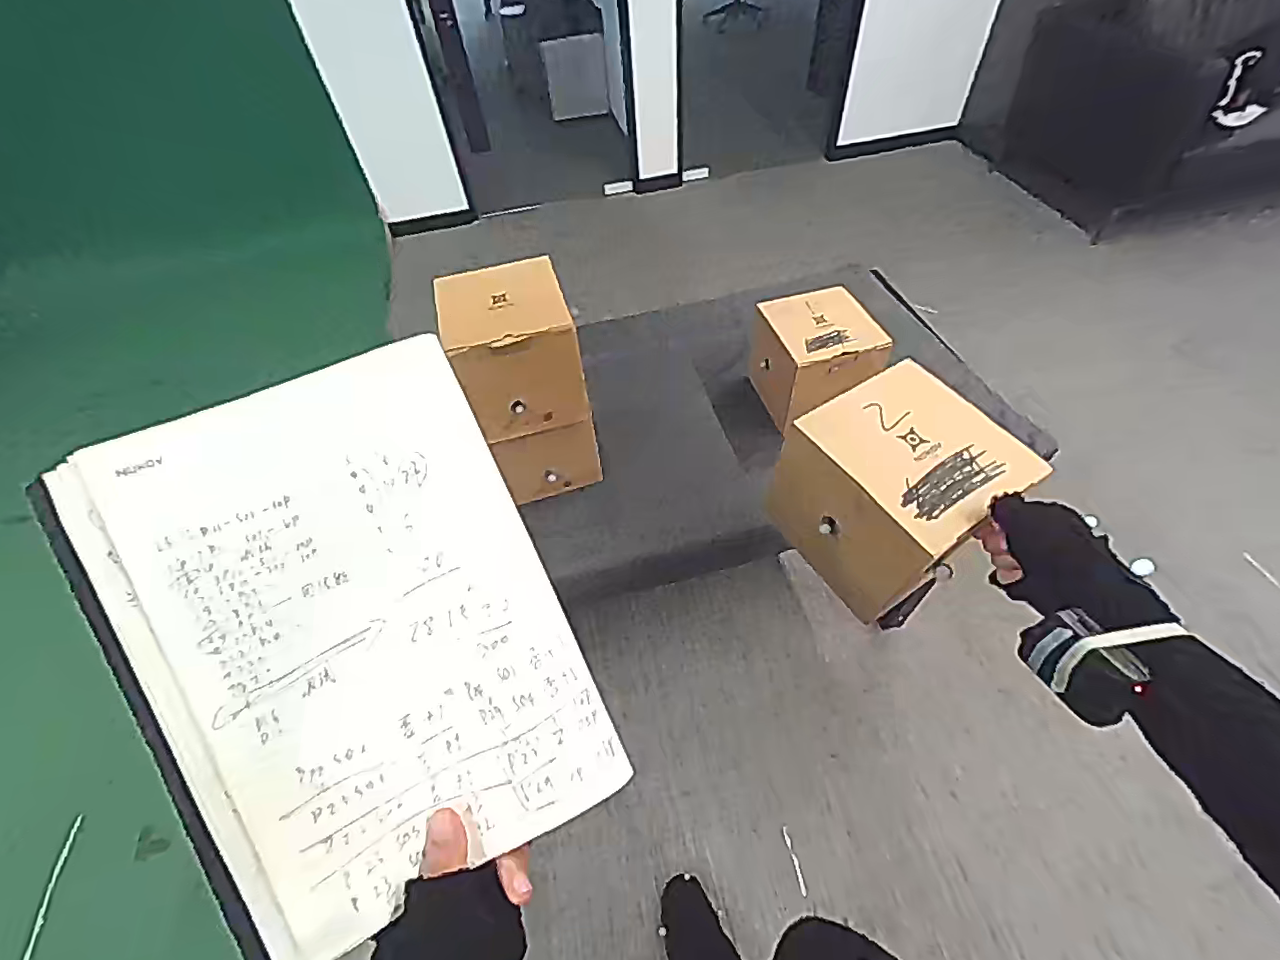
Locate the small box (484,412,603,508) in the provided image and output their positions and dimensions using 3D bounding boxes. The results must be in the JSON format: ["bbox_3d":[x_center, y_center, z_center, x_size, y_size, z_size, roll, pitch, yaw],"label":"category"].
[{"bbox_3d":[-0.168,-0.083,0.909,0.168,0.176,0.179,-17,52,-8],"label":"small box"}]

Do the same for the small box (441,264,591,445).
[{"bbox_3d":[-0.174,-0.179,0.778,0.168,0.176,0.179,-15,52,-8],"label":"small box"}]

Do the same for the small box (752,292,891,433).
[{"bbox_3d":[0.311,-0.203,0.968,0.168,0.176,0.179,-13,51,-6],"label":"small box"}]
